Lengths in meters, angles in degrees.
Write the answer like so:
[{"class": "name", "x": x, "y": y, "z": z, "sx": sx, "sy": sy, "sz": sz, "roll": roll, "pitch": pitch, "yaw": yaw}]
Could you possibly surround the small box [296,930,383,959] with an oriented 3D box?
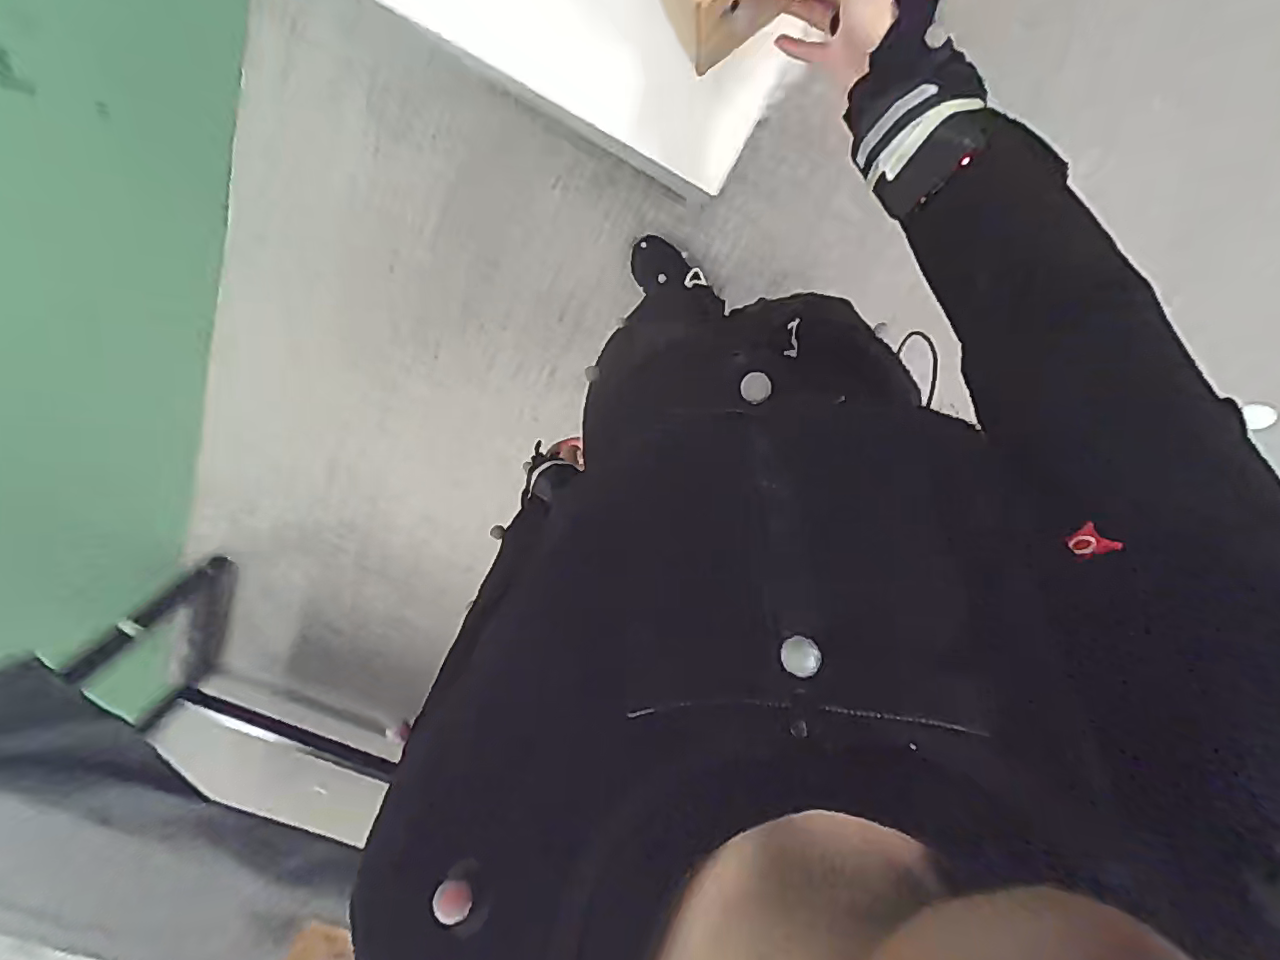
[{"class": "small box", "x": -0.658, "y": 1.078, "z": 1.109, "sx": 0.168, "sy": 0.176, "sz": 0.179, "roll": 25, "pitch": 114, "yaw": -8}]
